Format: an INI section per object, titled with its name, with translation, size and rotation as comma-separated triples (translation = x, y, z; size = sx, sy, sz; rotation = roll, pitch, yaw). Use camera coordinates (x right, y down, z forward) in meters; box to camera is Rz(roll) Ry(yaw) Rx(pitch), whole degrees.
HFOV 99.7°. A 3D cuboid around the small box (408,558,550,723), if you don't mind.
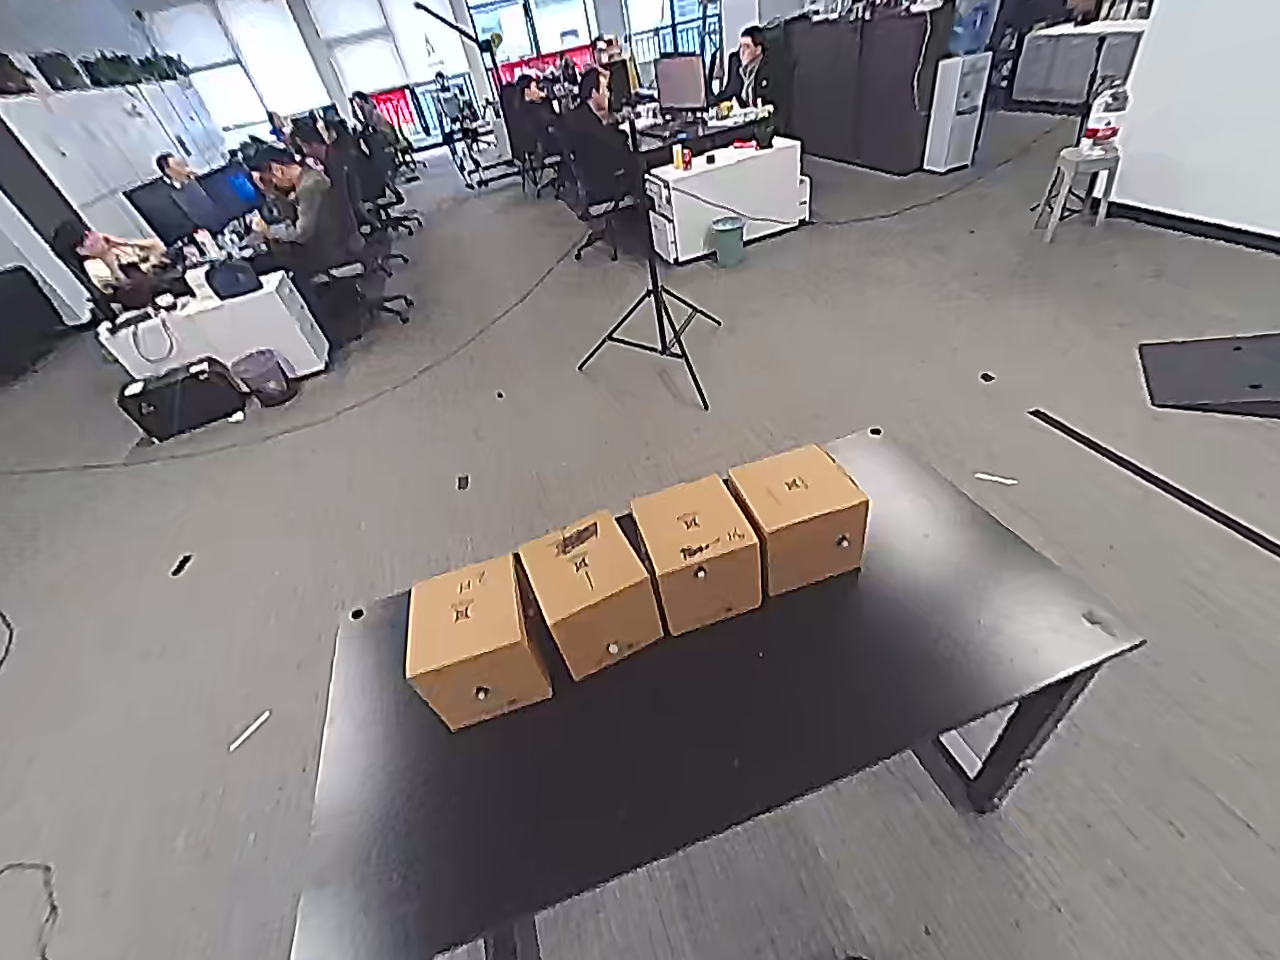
[small box]
translation = -0.252, 0.263, 0.869
size = 0.168, 0.176, 0.179
rotation = -17, 40, -6
